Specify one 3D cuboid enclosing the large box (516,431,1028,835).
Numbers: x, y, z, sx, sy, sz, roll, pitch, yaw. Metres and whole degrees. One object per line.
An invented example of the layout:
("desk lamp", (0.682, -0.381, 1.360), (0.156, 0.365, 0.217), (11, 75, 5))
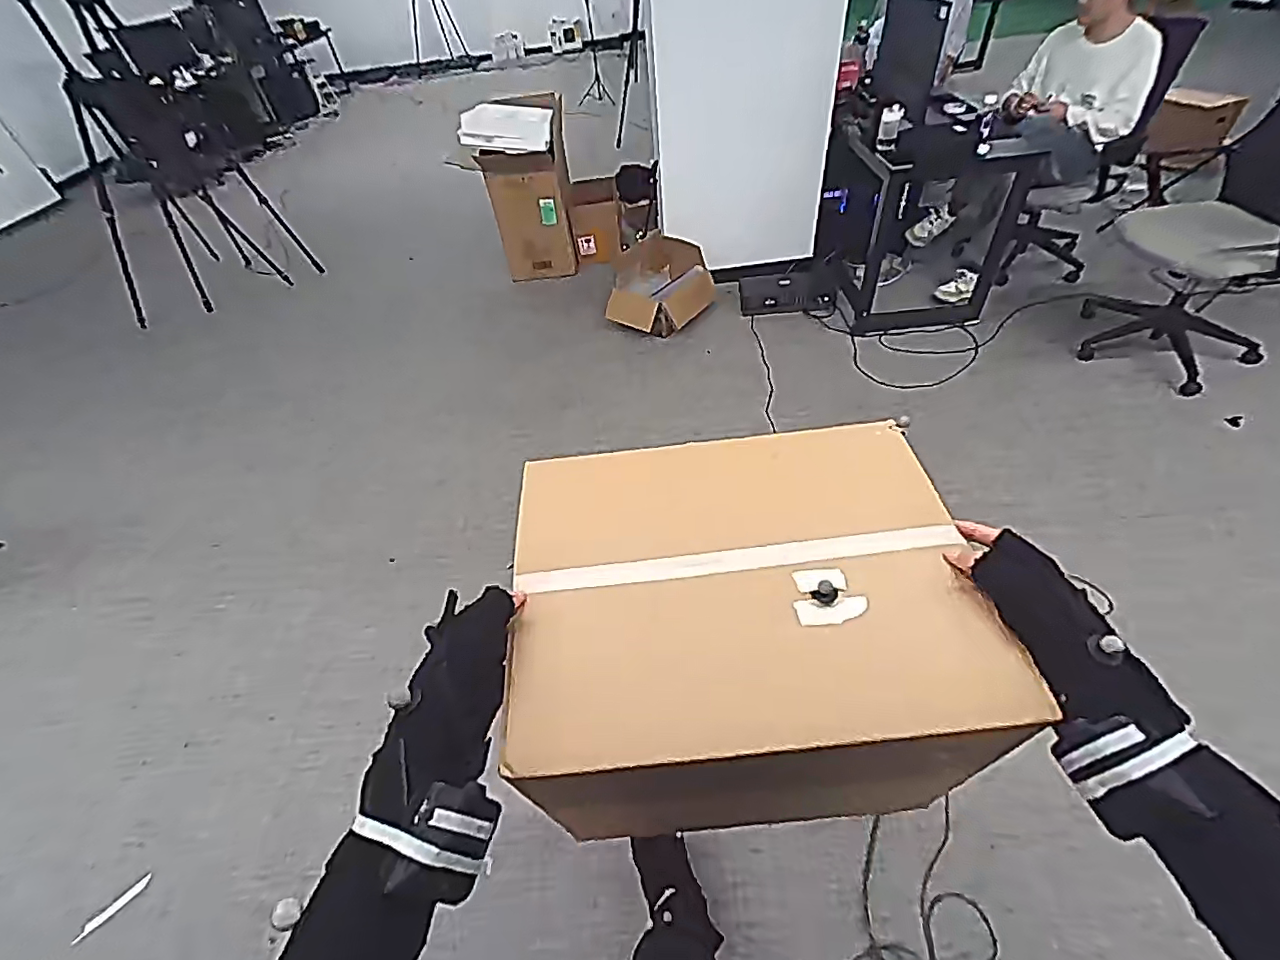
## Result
("large box", (0.099, 0.179, 0.618), (0.408, 0.320, 0.320), (-6, 49, 1))
